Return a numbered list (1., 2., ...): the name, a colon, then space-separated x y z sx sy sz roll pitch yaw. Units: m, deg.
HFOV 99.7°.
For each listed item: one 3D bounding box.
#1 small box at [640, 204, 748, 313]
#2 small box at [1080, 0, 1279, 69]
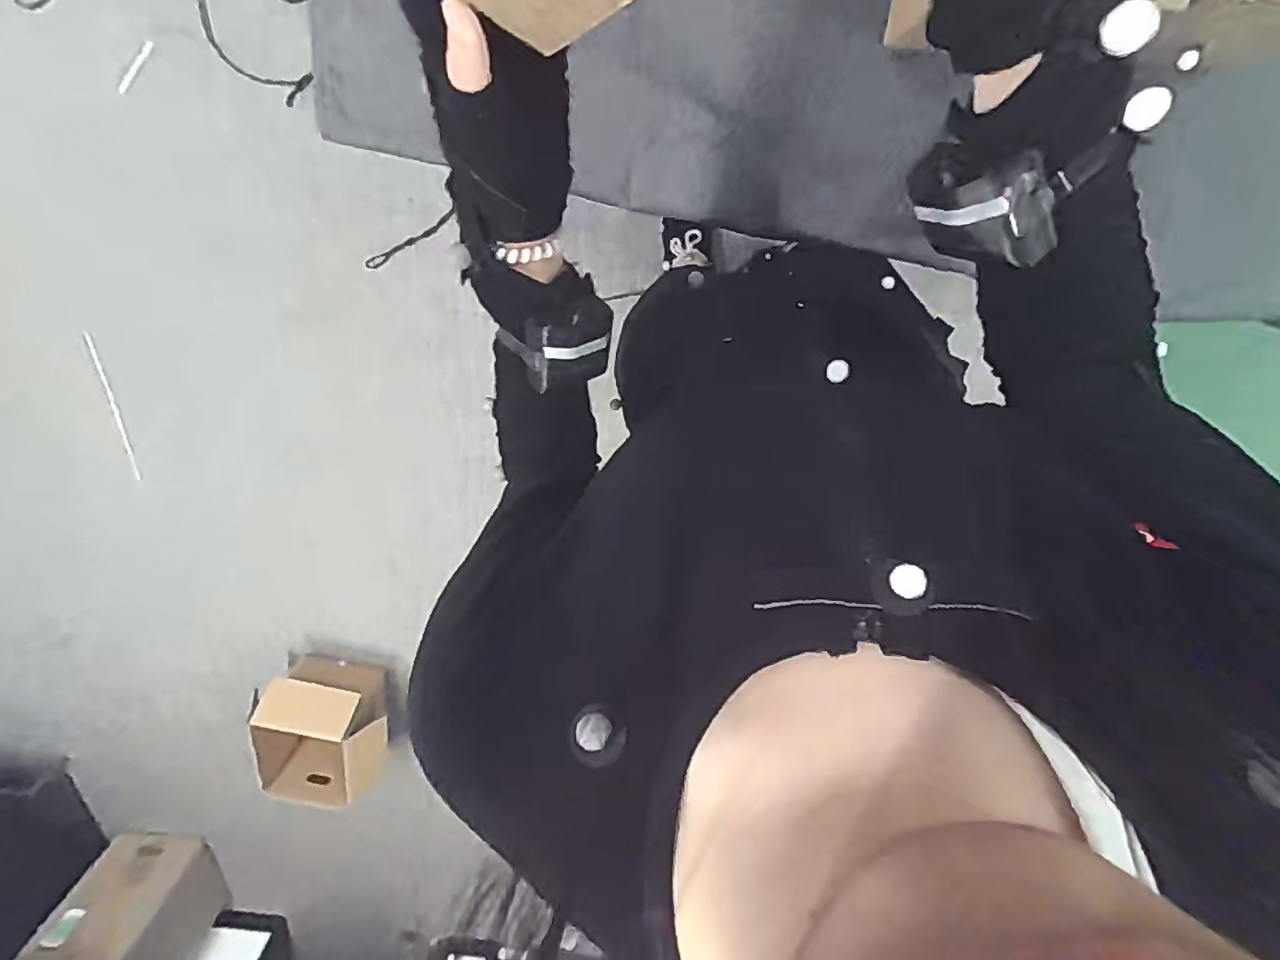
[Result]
1. small box: 0.119 -0.514 1.252 0.179 0.176 0.168 44 124 1
2. small box: 0.507 -0.455 0.423 0.168 0.176 0.179 7 118 0
